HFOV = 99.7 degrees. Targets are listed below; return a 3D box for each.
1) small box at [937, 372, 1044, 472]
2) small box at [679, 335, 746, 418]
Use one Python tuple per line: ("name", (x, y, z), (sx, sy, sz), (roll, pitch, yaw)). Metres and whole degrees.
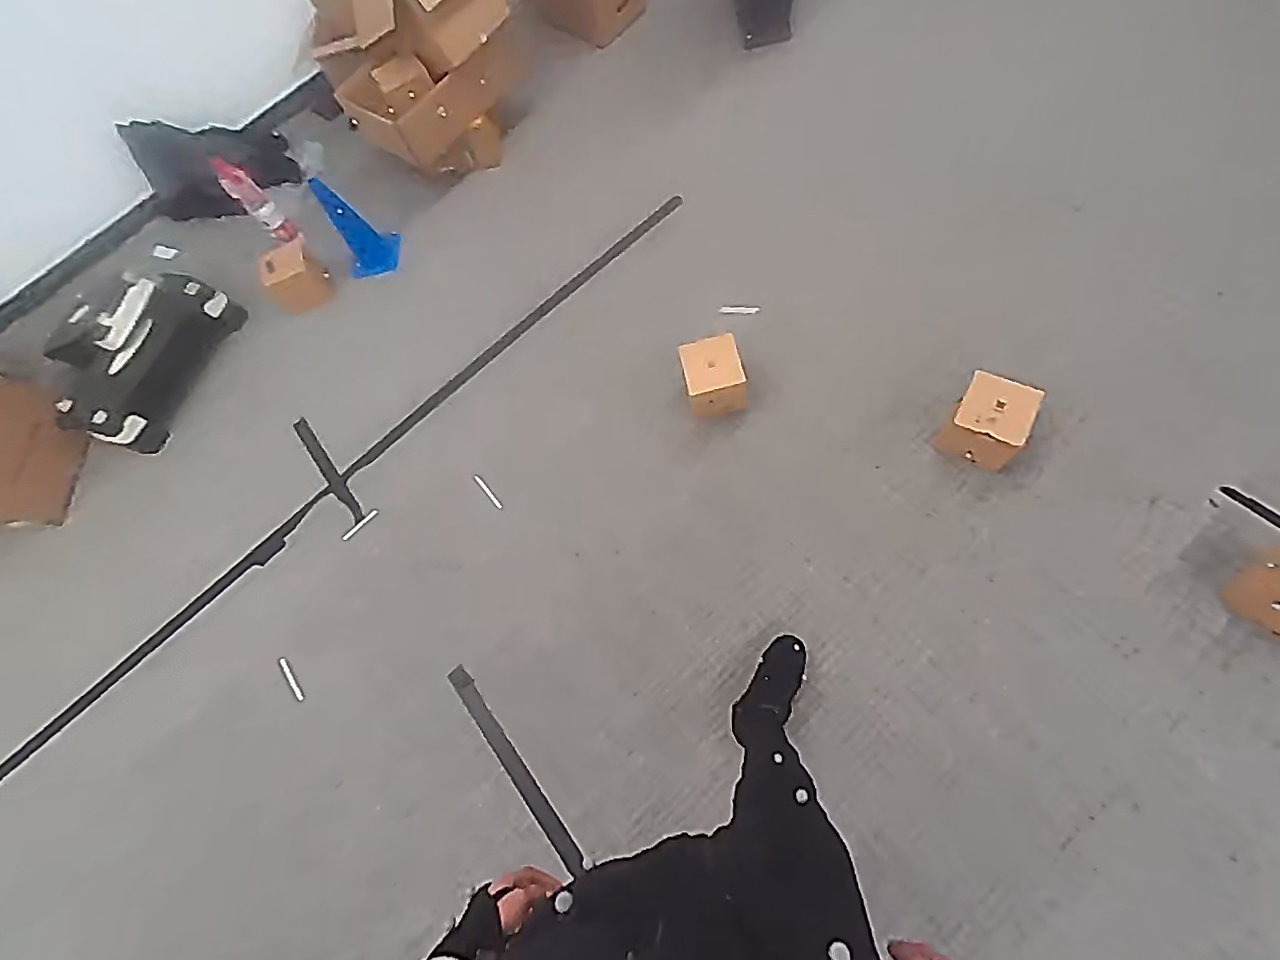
("small box", (0.926, -0.150, 1.443), (0.168, 0.176, 0.179), (26, 77, 19))
("small box", (0.224, -0.302, 1.635), (0.168, 0.176, 0.179), (-14, 67, 6))
